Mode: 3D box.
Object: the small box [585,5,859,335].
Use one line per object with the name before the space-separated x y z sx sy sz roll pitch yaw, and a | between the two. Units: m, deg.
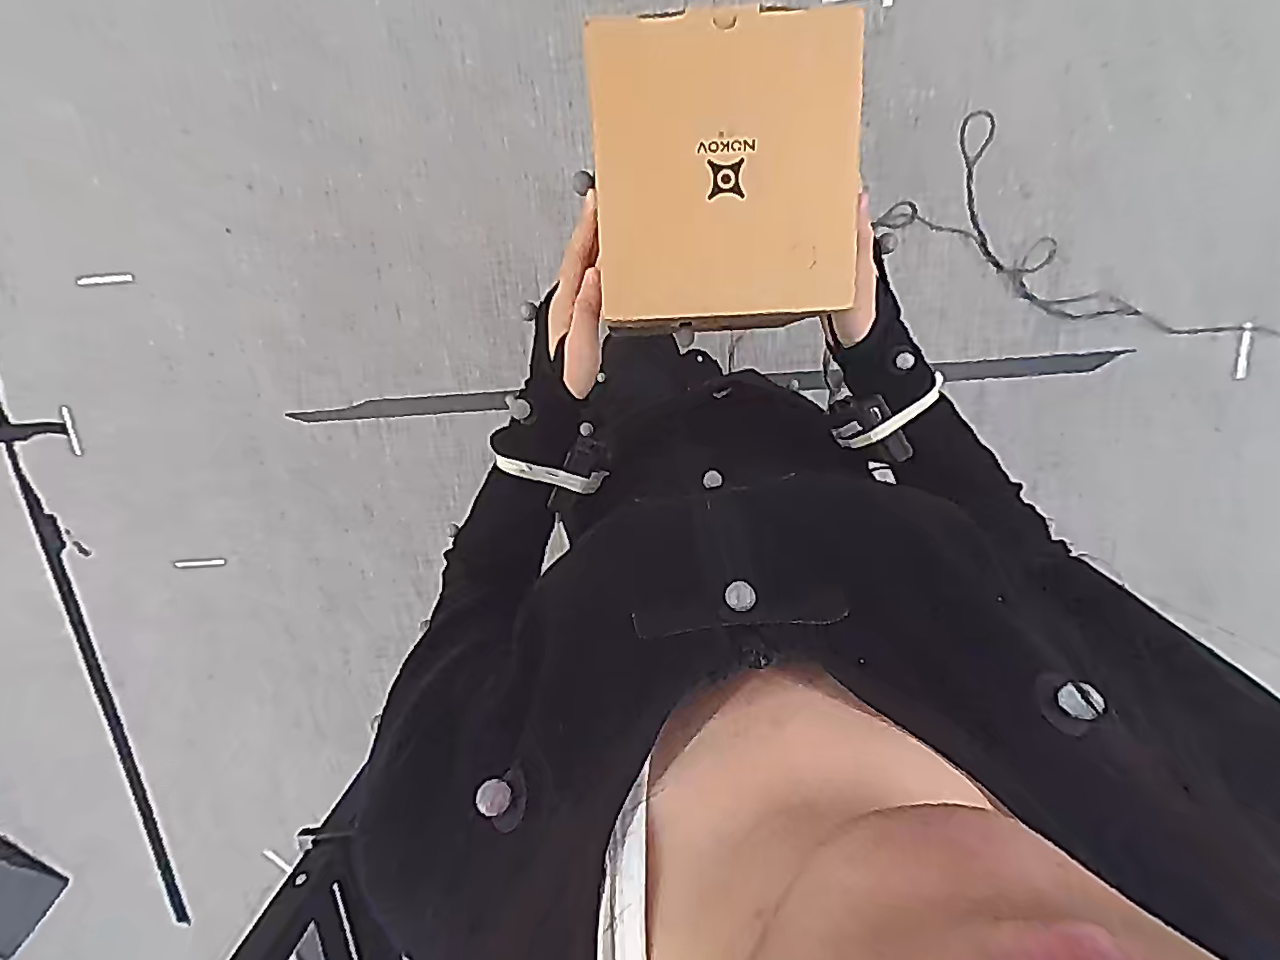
small box | 0.052 -0.207 0.415 0.168 0.176 0.179 -3 100 0
